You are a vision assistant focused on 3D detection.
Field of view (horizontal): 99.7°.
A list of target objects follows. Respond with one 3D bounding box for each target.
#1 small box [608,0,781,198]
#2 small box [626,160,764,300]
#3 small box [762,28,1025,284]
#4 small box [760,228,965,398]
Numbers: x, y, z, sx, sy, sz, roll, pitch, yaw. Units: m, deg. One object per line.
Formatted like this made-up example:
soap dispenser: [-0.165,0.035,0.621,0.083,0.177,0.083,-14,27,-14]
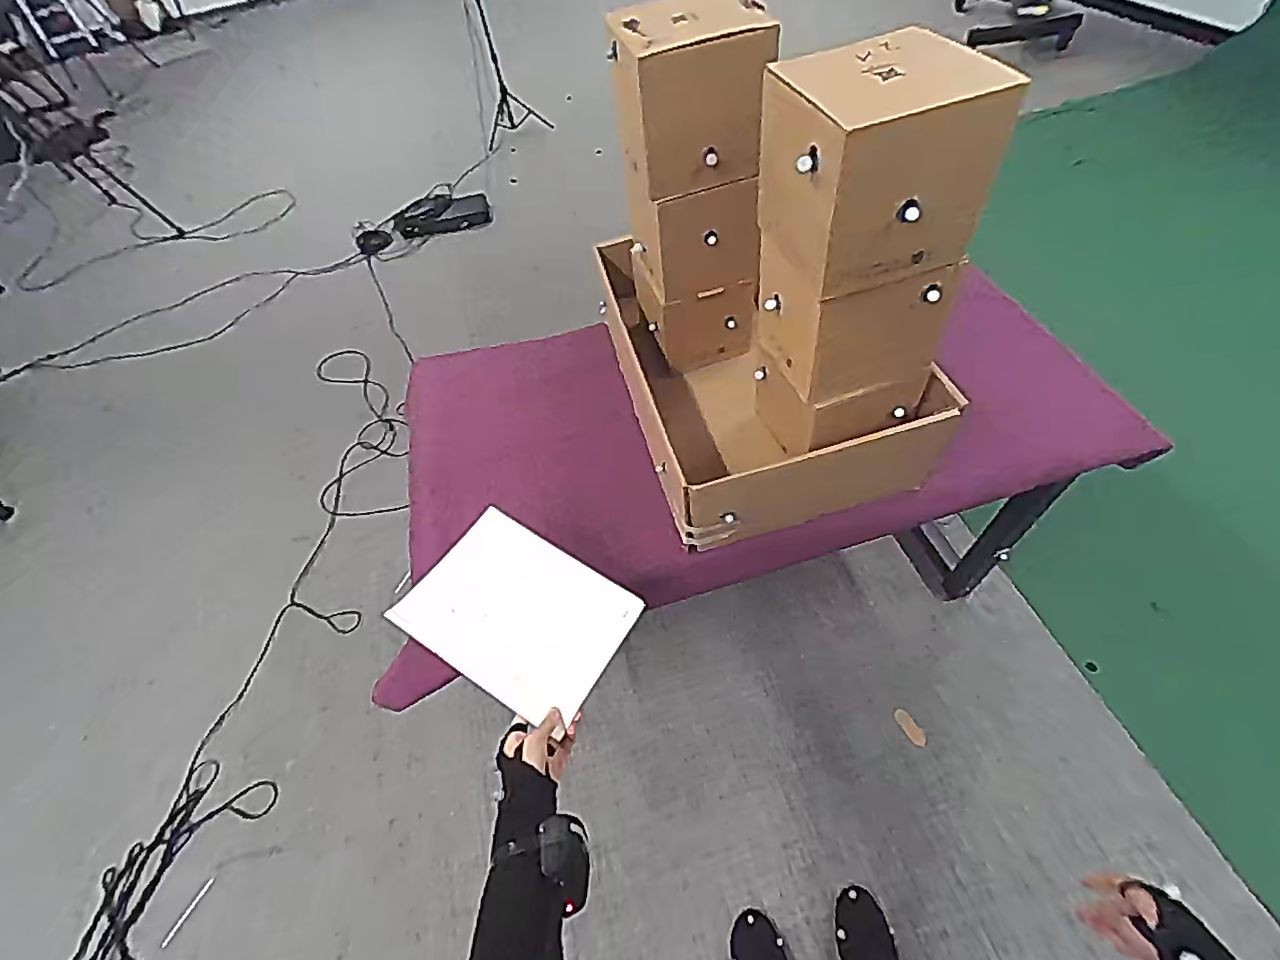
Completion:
small box: [0.067,-0.512,0.724,0.179,0.176,0.168,-16,55,-4]
small box: [0.088,-0.417,0.857,0.179,0.176,0.168,-18,55,-5]
small box: [0.236,-0.324,0.560,0.168,0.176,0.179,-16,52,-3]
small box: [0.264,-0.229,0.692,0.179,0.176,0.168,-16,53,-3]
